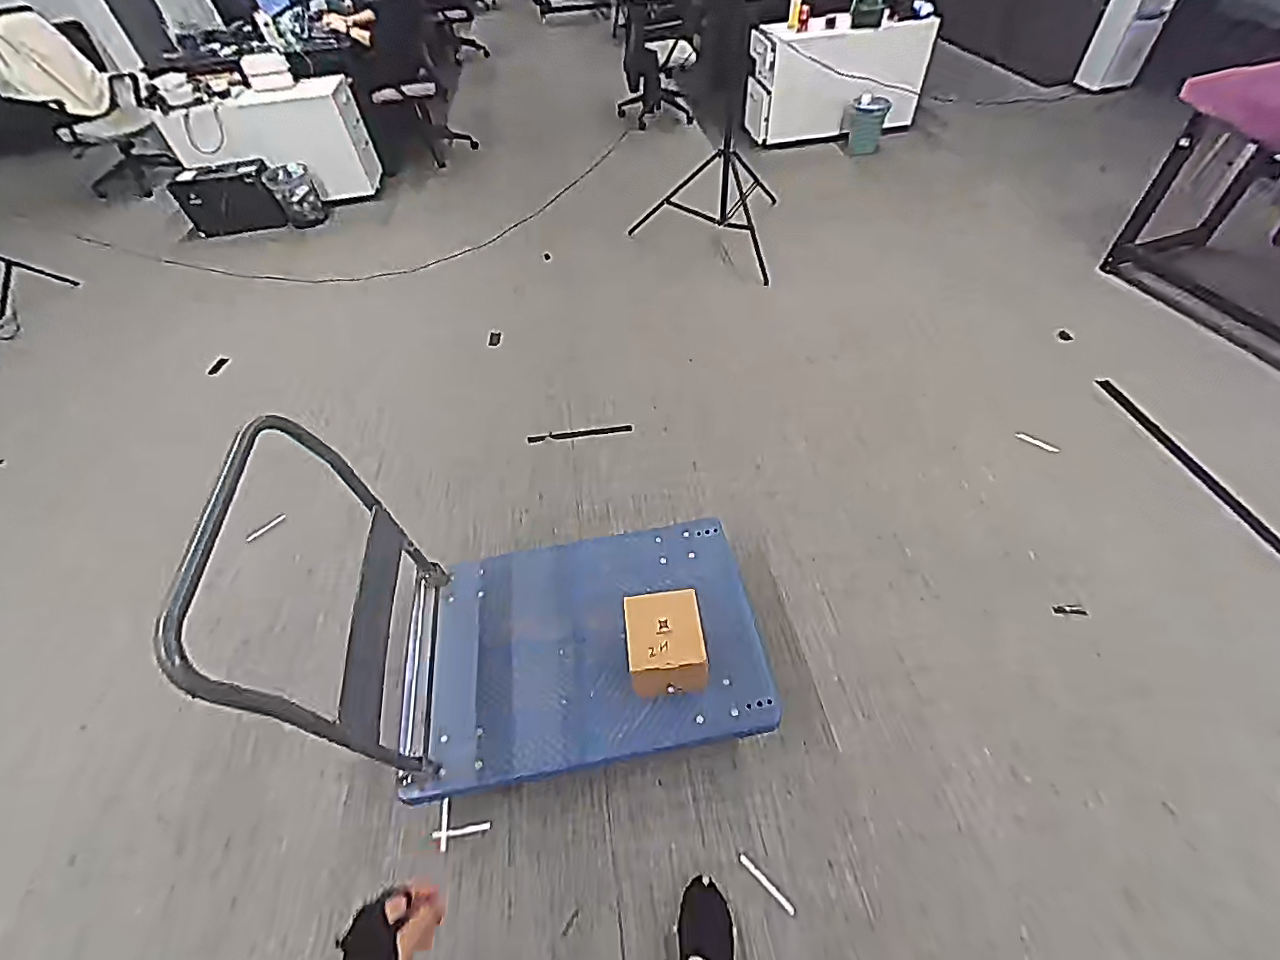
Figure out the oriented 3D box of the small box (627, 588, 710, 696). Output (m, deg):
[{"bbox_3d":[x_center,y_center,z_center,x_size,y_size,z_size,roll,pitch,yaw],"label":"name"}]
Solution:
[{"bbox_3d":[0.063,0.374,1.242,0.168,0.176,0.179,-7,50,0],"label":"small box"}]
